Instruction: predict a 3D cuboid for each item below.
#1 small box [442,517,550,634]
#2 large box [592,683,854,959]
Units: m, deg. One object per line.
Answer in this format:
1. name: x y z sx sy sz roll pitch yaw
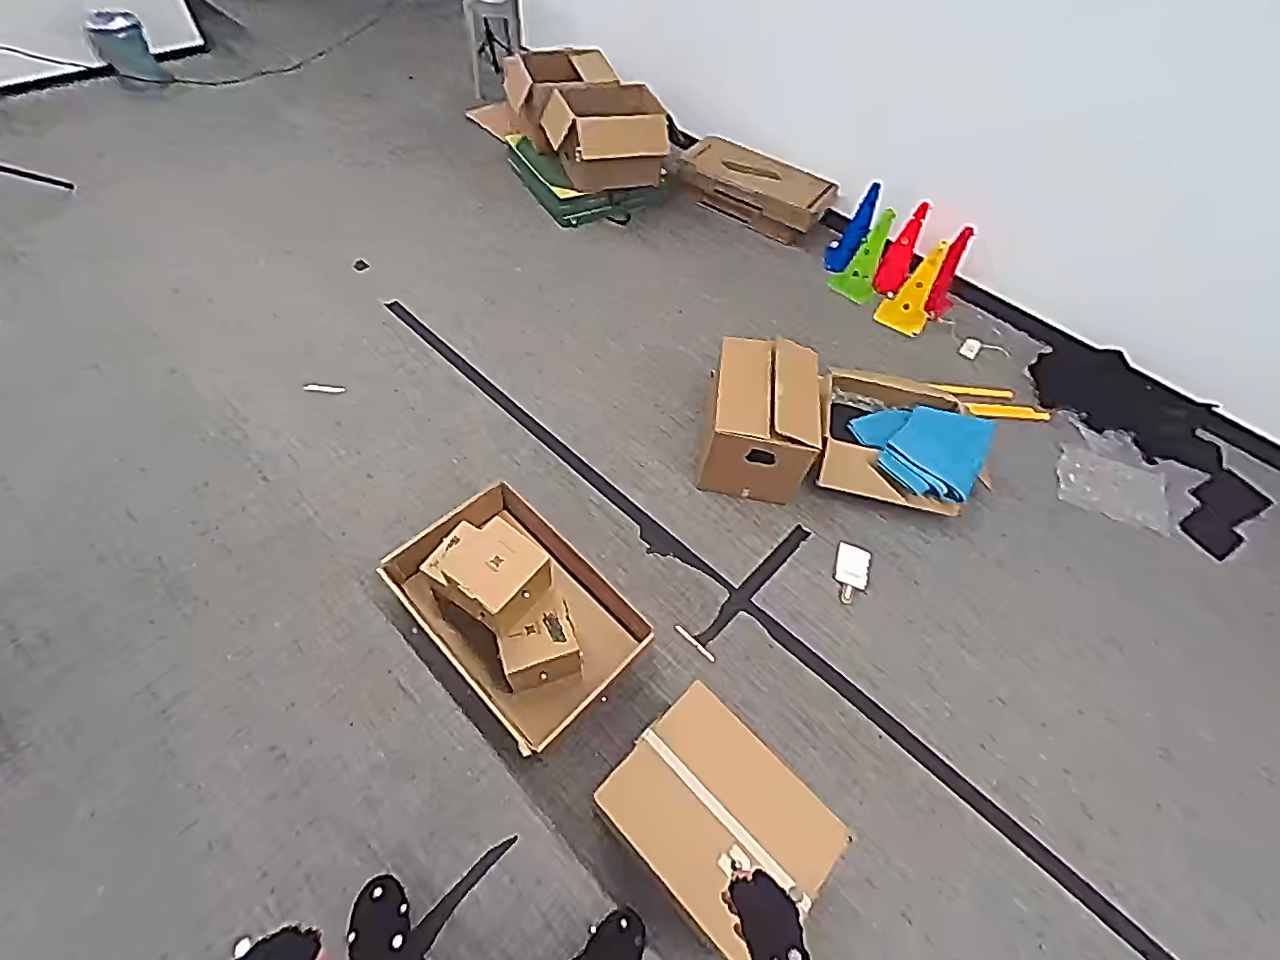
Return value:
1. small box: -0.320 0.225 1.246 0.168 0.176 0.179 34 58 15
2. large box: 0.147 0.715 1.144 0.408 0.320 0.320 41 62 19
